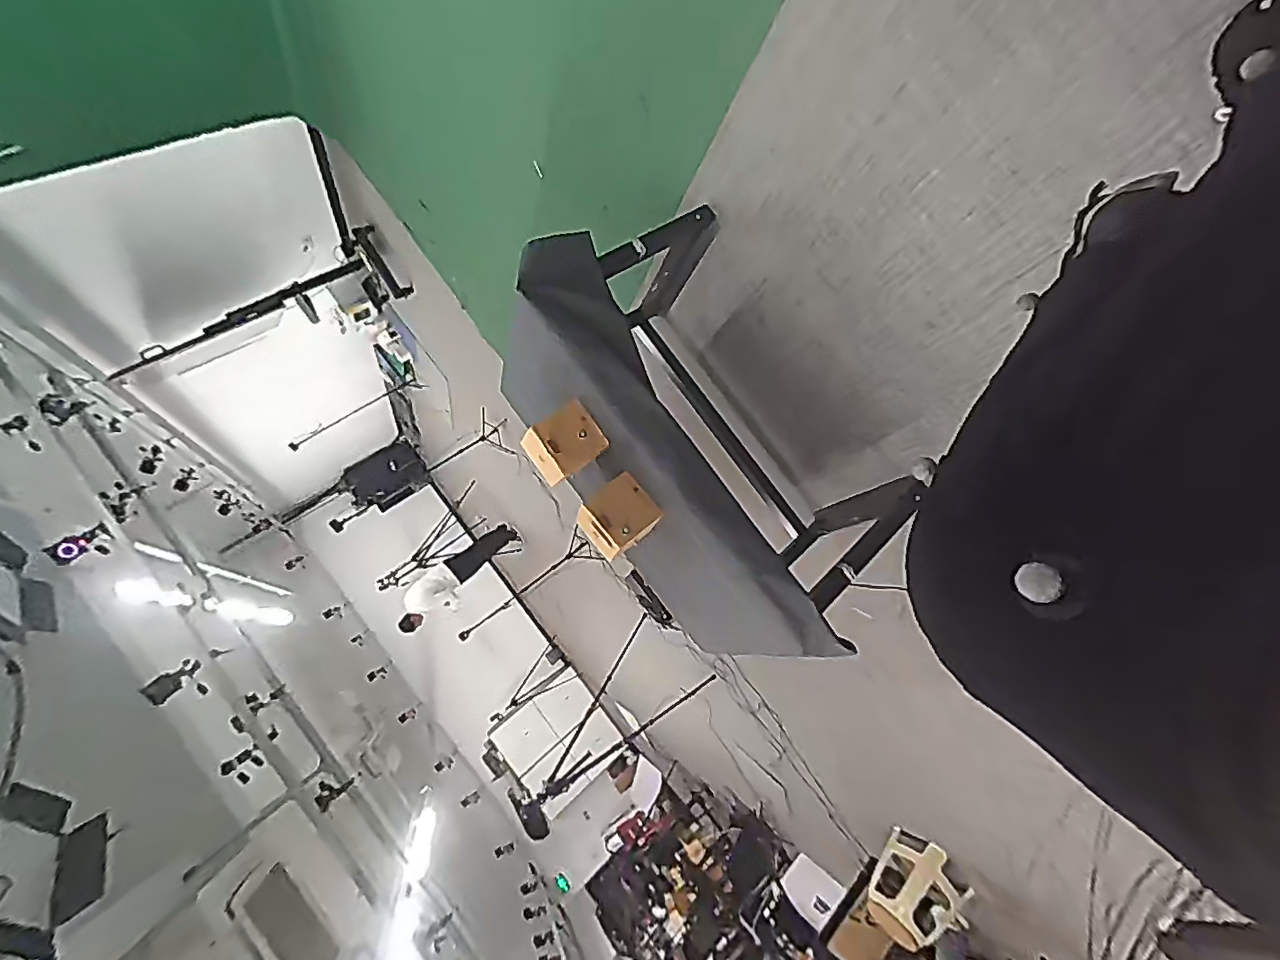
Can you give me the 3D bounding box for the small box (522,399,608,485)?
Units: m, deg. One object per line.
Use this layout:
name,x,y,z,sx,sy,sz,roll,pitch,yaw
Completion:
small box,-0.216,-0.108,1.562,0.168,0.176,0.179,56,155,-3
